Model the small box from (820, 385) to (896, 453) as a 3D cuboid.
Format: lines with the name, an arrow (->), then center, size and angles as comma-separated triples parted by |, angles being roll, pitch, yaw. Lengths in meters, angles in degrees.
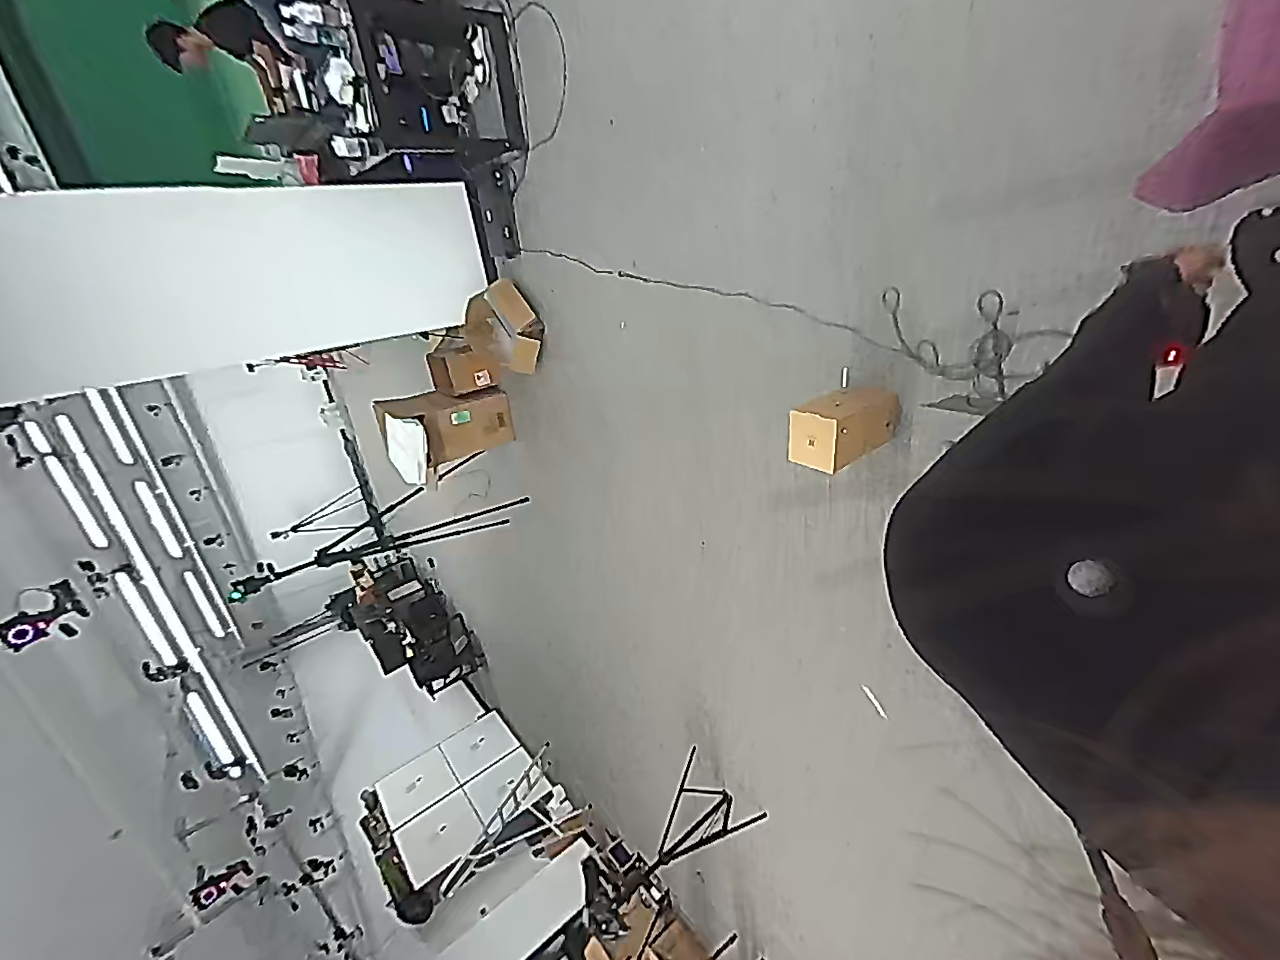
small box -> 0.702, -0.205, 1.763 | 0.179, 0.176, 0.168 | 23, 128, 47

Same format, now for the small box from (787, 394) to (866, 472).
small box -> 0.577, -0.150, 1.675 | 0.168, 0.176, 0.179 | 25, 130, 46
